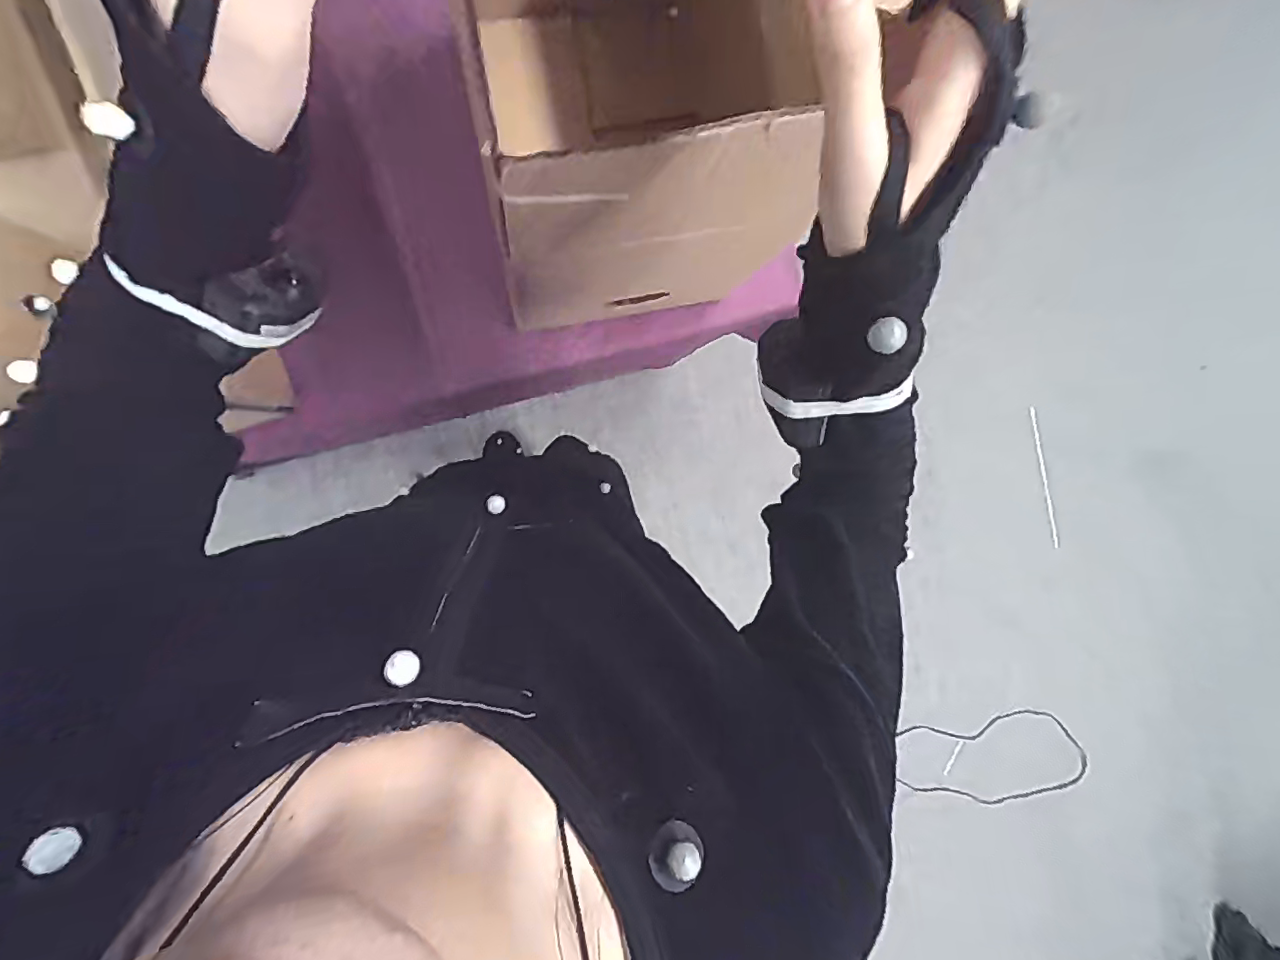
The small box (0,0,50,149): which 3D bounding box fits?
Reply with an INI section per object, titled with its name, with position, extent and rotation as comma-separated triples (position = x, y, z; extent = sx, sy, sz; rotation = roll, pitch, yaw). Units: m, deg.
[small box]
position = -0.724, -0.424, 0.497
extent = 0.168, 0.176, 0.179
rotation = -16, 97, -8
